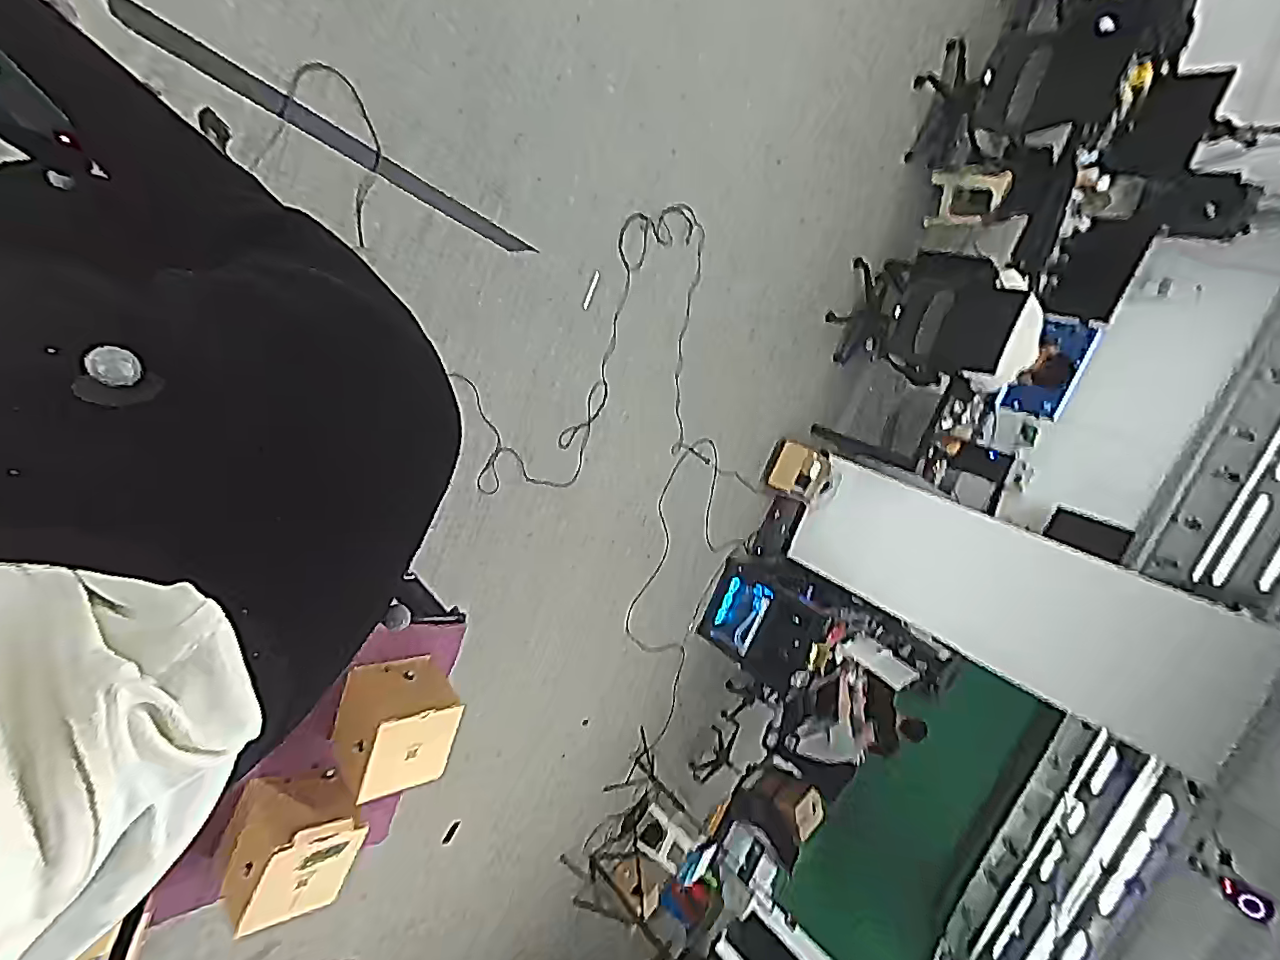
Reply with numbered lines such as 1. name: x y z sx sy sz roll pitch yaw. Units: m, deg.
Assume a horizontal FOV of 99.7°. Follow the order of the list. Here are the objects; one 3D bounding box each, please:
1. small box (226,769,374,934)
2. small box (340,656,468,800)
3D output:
1. small box: -0.639 0.672 1.011 0.168 0.176 0.179 21 96 -51
2. small box: -0.473 0.479 1.073 0.168 0.176 0.179 7 107 -48
